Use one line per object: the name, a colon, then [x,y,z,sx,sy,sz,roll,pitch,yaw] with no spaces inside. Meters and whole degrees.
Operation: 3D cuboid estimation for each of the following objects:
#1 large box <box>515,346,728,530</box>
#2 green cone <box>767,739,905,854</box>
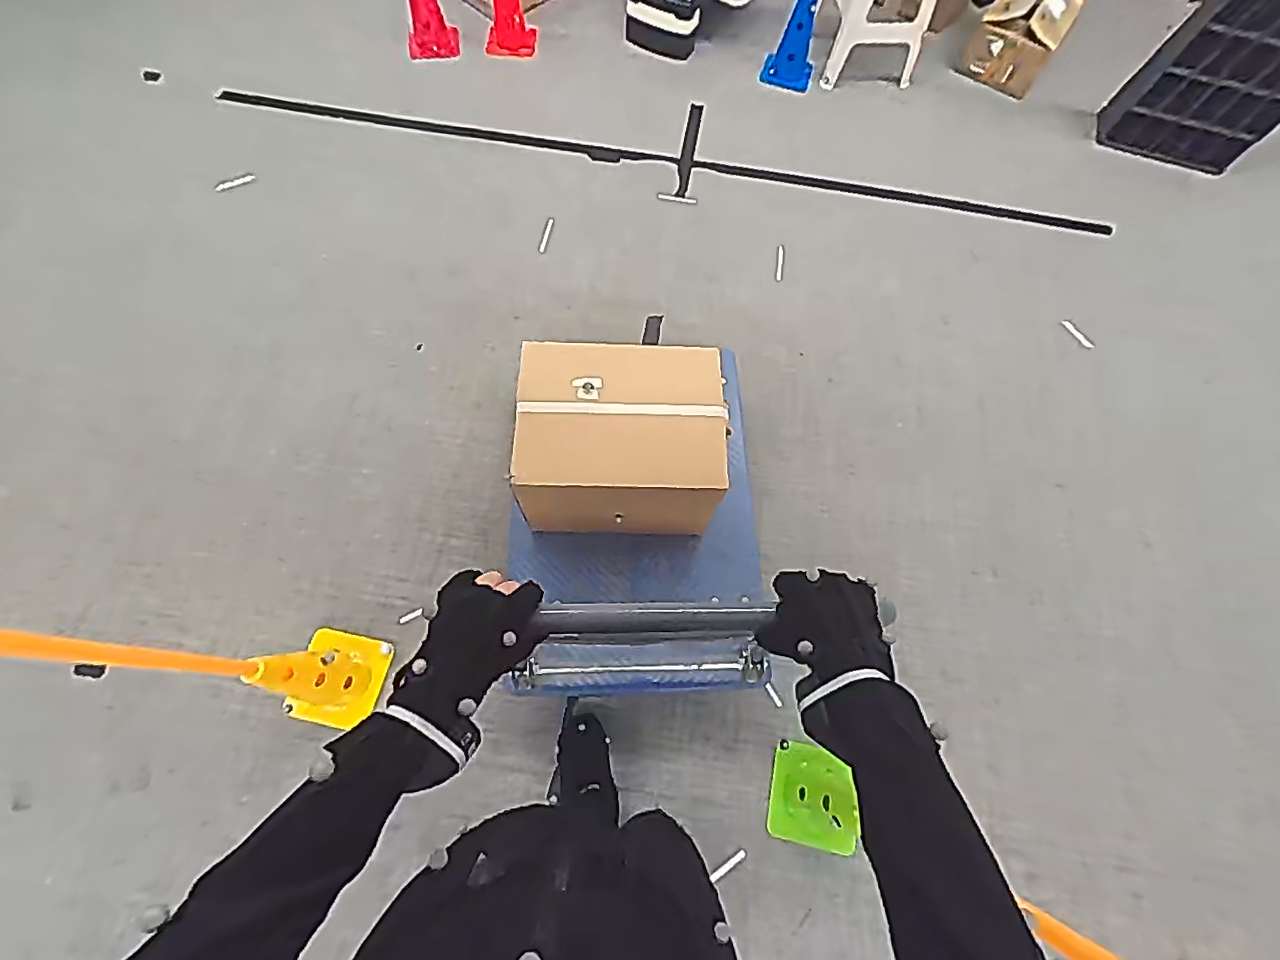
large box: [-0.038,-0.076,1.194,0.408,0.320,0.320,1,68,-2]
green cone: [0.409,0.654,1.074,0.202,0.368,0.200,14,67,1]
